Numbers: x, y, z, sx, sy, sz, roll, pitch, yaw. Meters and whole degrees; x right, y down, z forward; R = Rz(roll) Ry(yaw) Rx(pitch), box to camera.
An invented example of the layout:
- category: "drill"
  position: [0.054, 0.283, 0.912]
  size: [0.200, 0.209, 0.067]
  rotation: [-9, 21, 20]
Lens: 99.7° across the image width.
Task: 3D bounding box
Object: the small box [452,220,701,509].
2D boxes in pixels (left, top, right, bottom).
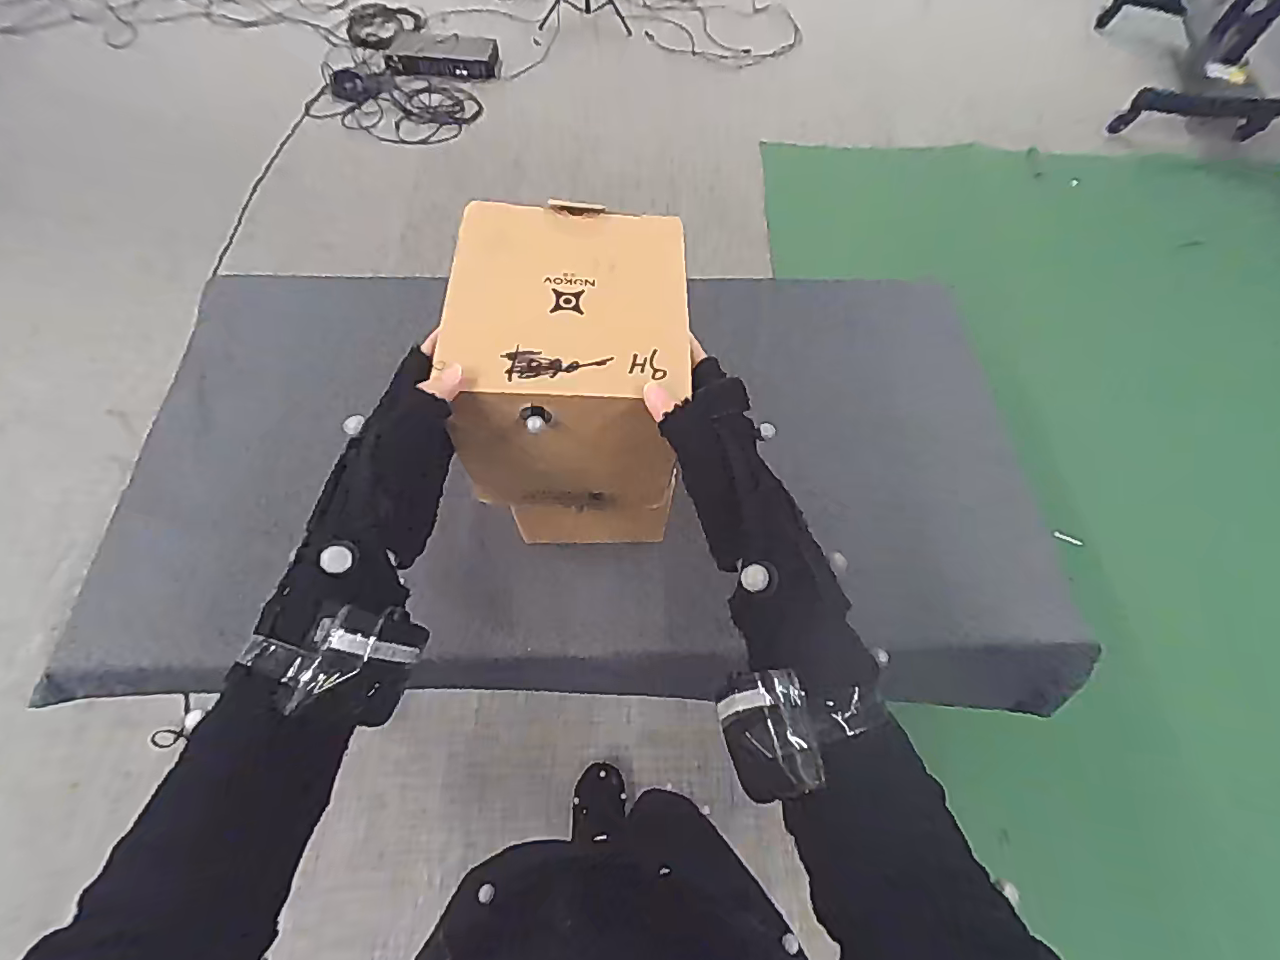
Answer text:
- category: "small box"
  position: [-0.051, -0.089, 0.461]
  size: [0.168, 0.176, 0.179]
  rotation: [-1, 63, -6]

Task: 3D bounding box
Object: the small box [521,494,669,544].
- category: "small box"
  position: [-0.054, -0.026, 0.664]
  size: [0.179, 0.176, 0.168]
  rotation: [0, 62, -2]
